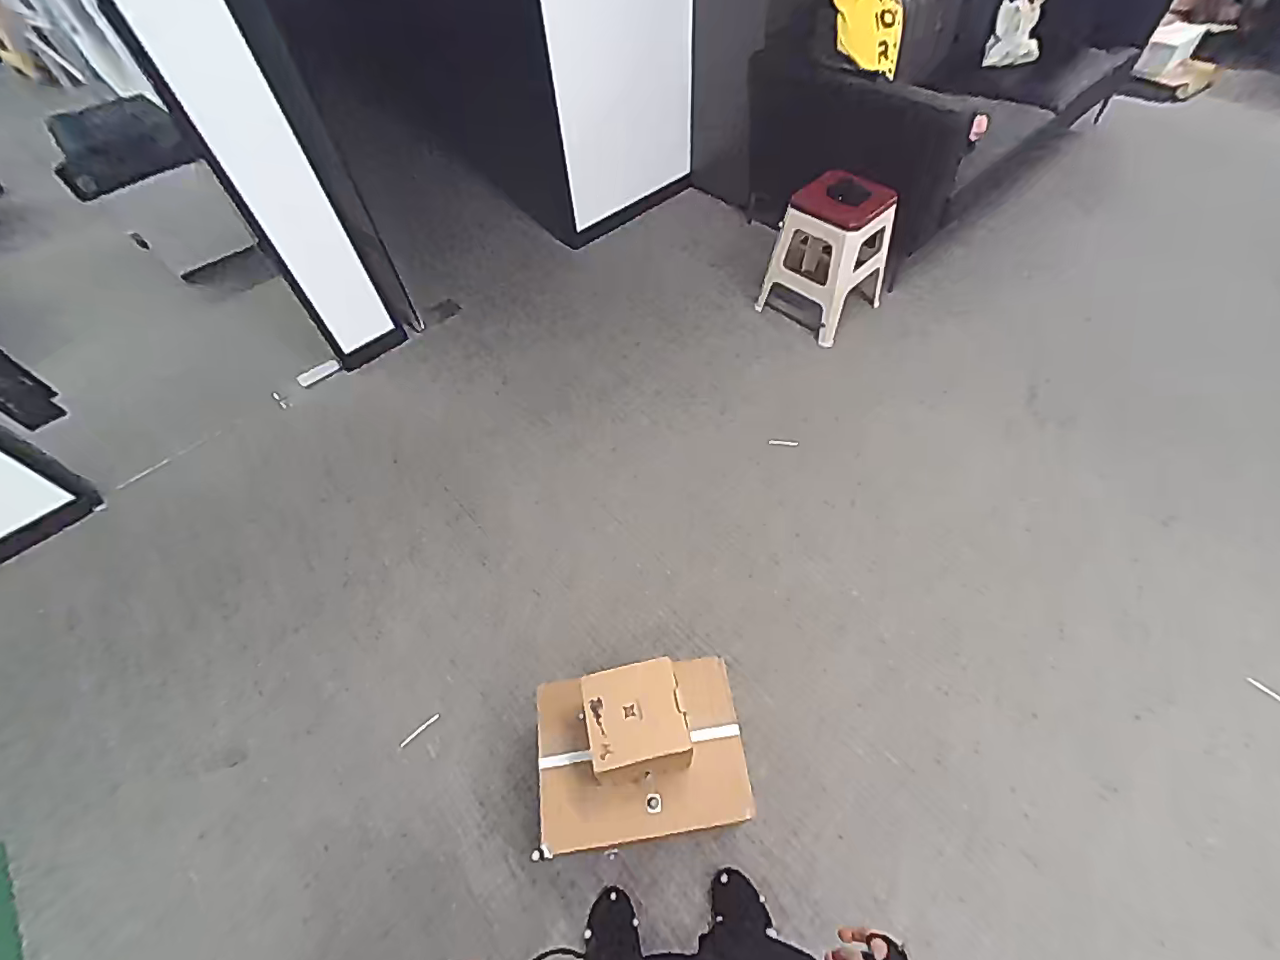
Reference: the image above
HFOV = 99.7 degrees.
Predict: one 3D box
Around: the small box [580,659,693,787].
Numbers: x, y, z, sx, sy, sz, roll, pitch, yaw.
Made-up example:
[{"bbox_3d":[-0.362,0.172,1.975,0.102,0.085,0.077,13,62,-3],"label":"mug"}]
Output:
[{"bbox_3d":[-0.009,0.459,1.016,0.179,0.176,0.168,-10,53,-6],"label":"small box"}]
